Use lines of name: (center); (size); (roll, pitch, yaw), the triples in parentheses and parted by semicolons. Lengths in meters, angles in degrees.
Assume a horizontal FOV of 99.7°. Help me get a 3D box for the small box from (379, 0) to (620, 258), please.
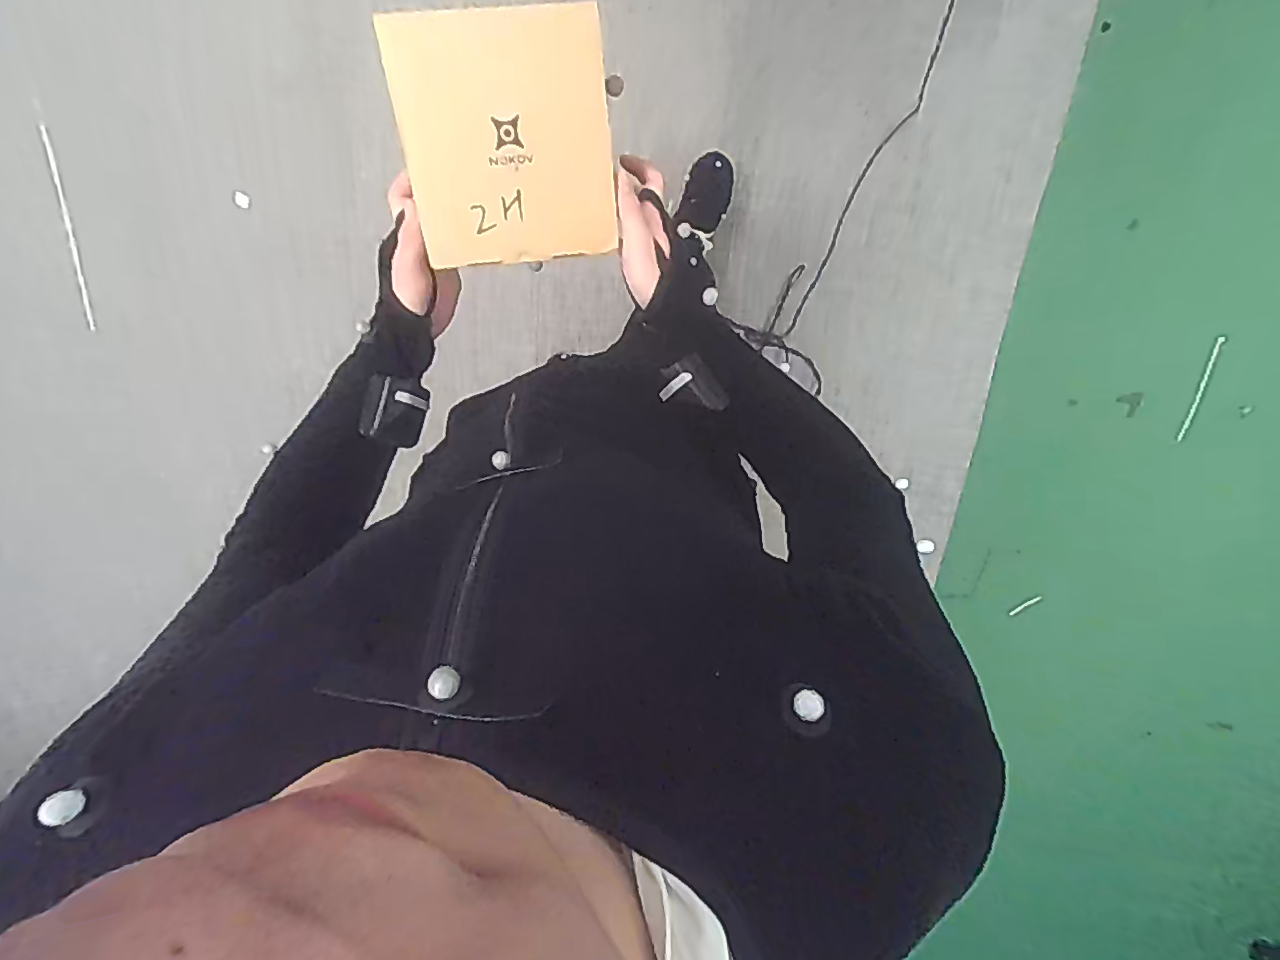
small box: (-0.111, -0.309, 0.501); (0.168, 0.176, 0.179); (-6, 117, -3)
